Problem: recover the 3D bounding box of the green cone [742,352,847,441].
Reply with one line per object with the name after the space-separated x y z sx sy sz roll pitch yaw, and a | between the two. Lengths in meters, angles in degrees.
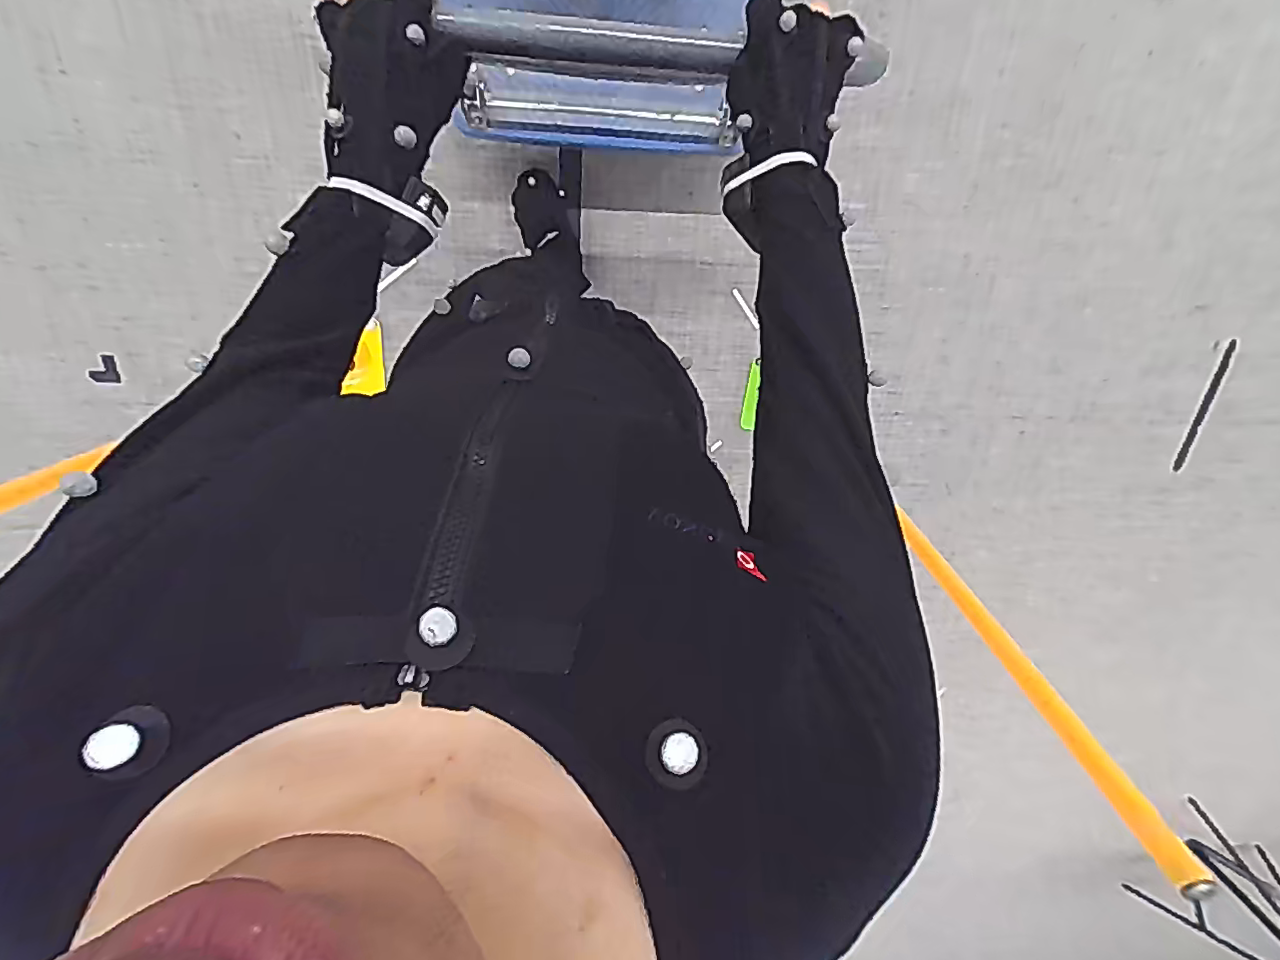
0.400 -0.170 1.310 0.202 0.368 0.200 4 114 -7 | green cone
